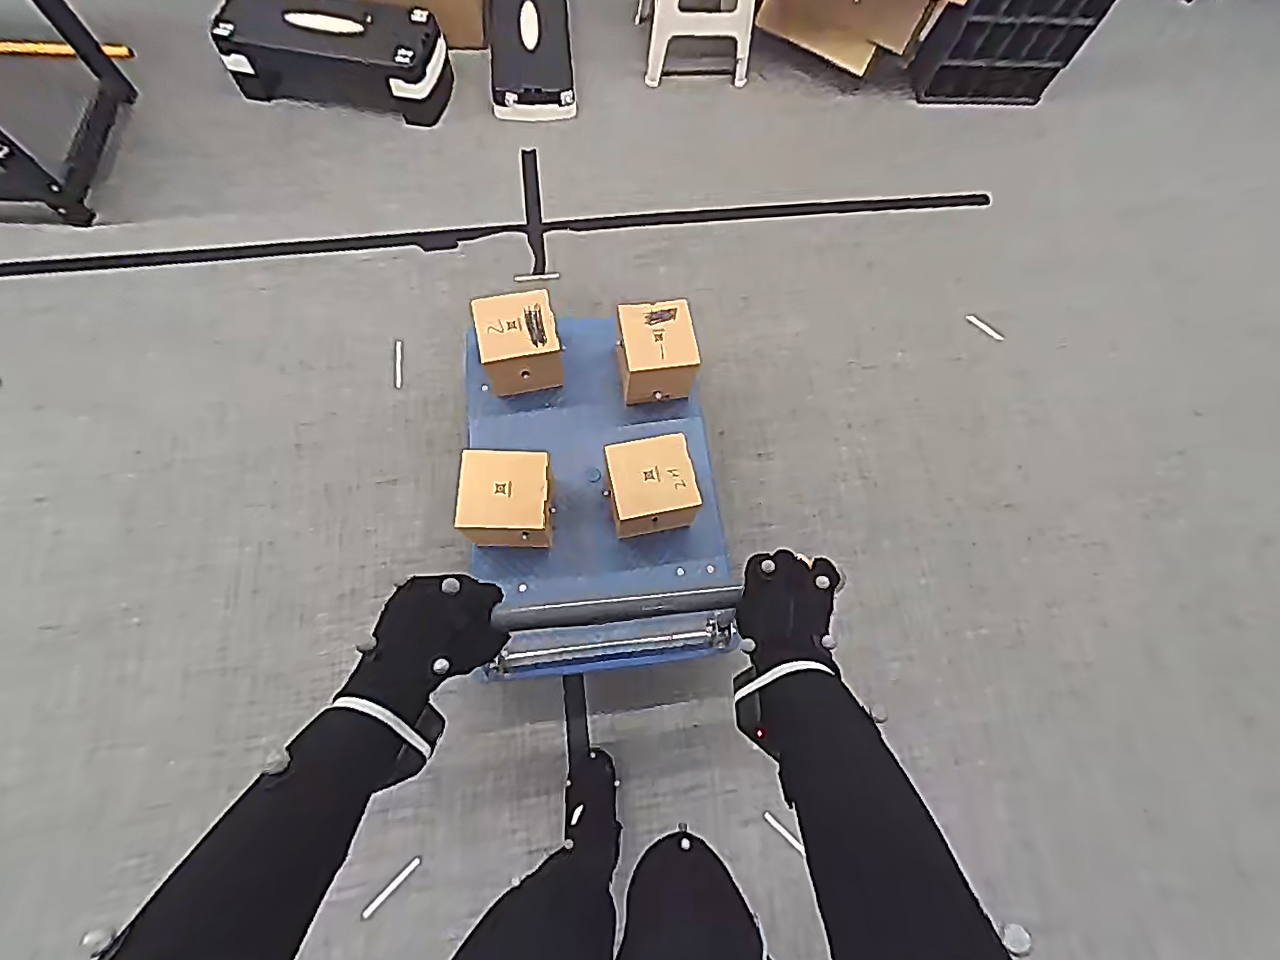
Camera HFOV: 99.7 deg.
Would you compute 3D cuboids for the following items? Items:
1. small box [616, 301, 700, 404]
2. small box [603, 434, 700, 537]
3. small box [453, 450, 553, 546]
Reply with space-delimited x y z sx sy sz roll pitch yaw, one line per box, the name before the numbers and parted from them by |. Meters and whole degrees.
small box | 0.036 -0.302 1.296 0.168 0.176 0.179 -7 73 -7
small box | 0.019 0.019 1.186 0.179 0.176 0.168 -10 72 -7
small box | -0.284 0.044 1.156 0.179 0.176 0.168 2 71 -5
